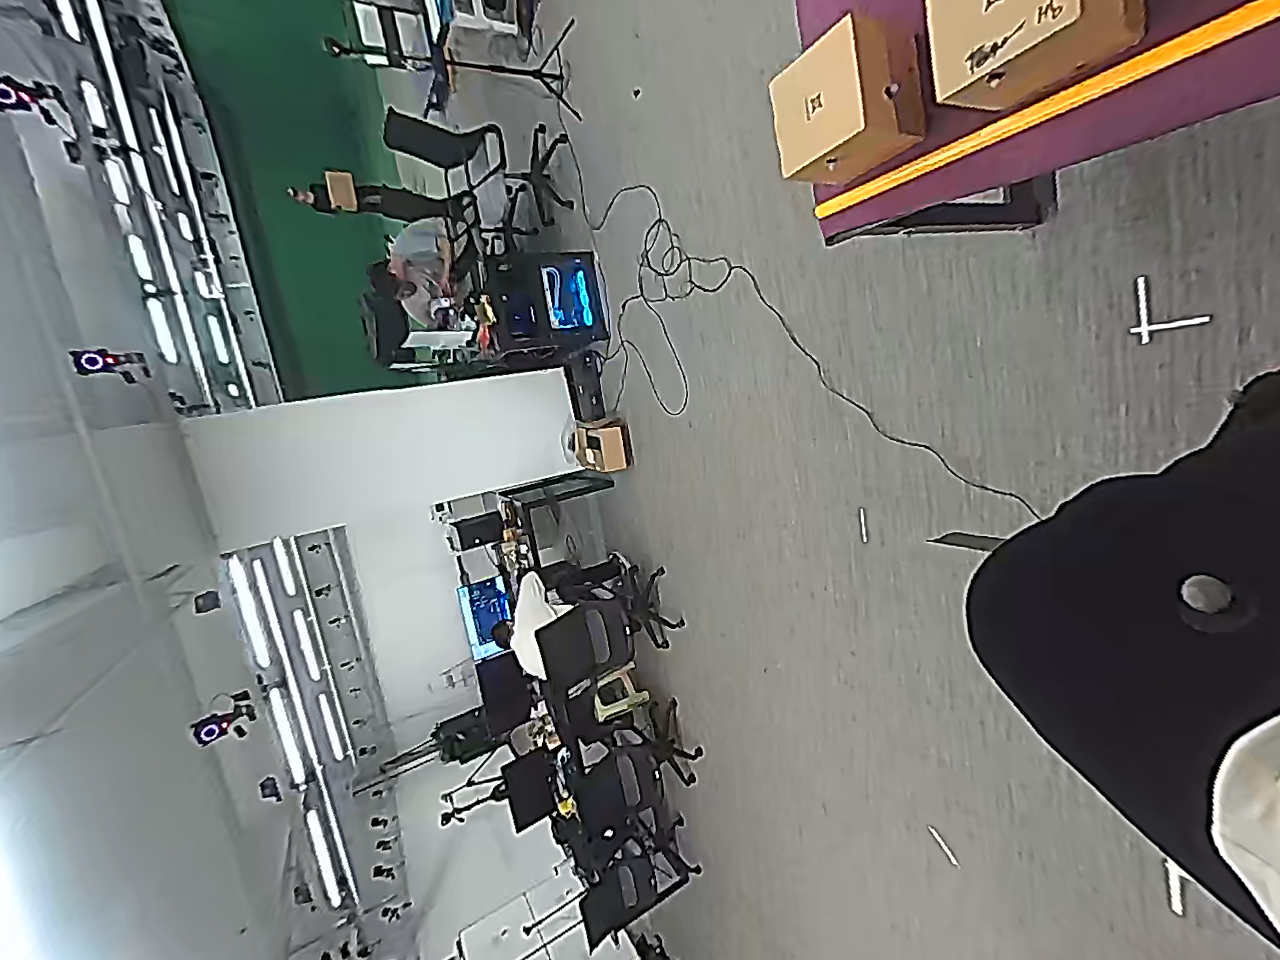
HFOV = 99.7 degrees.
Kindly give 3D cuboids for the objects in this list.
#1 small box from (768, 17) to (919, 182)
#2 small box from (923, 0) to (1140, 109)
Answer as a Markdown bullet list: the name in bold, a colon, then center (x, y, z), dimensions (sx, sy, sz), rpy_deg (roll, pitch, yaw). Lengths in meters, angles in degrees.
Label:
- **small box**: center (0.350, -0.631, 0.920), dimensions (0.179, 0.176, 0.168), rpy_deg (3, 105, 61)
- **small box**: center (0.485, -0.602, 0.676), dimensions (0.168, 0.176, 0.179), rpy_deg (7, 109, 63)
